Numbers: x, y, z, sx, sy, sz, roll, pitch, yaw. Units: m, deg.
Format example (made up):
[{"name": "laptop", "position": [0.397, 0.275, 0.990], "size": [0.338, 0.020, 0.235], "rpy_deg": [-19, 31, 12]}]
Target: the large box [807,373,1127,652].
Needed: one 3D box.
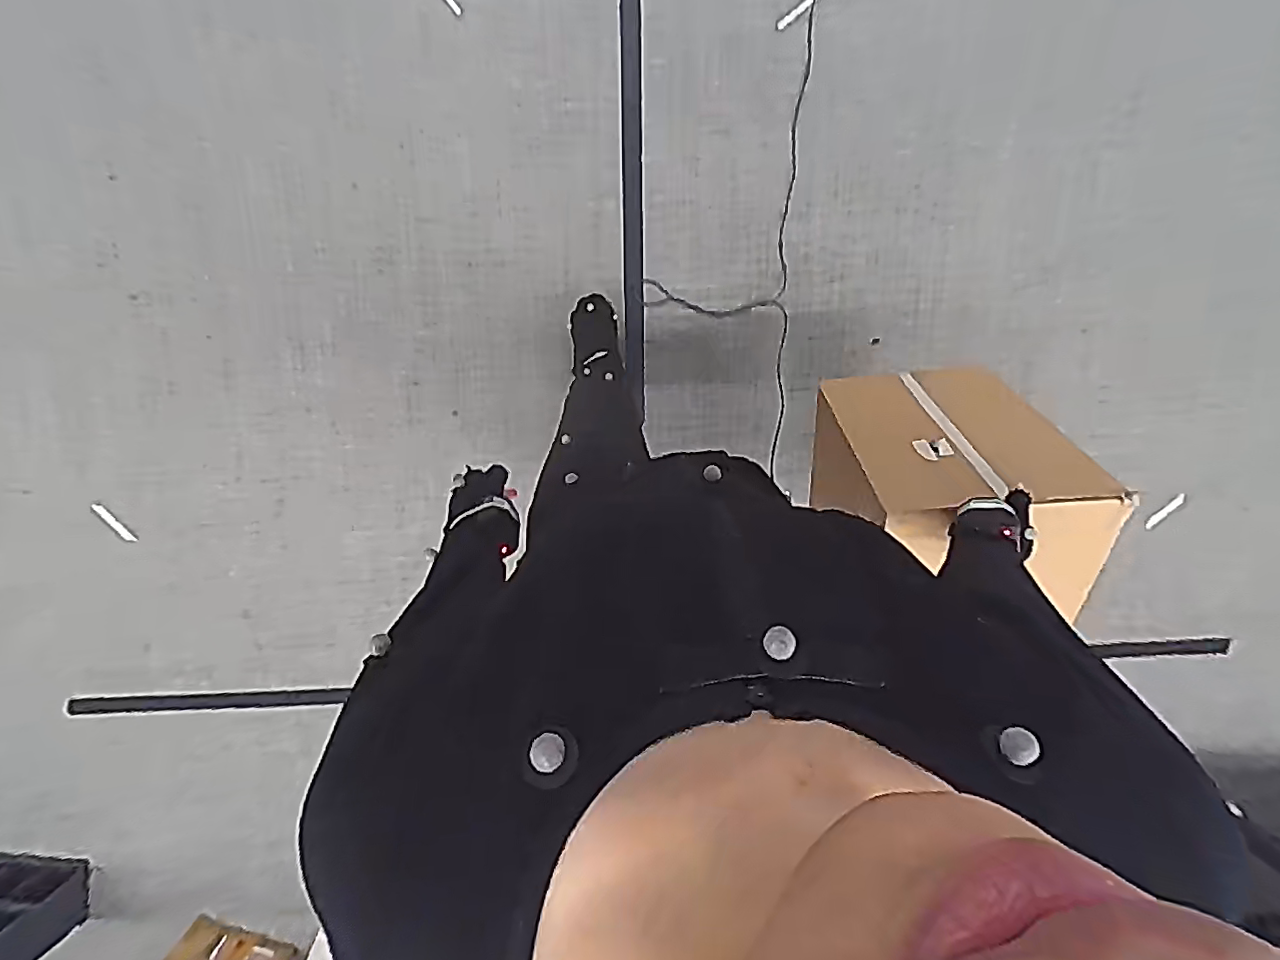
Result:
[{"name": "large box", "position": [0.511, 0.043, 0.971], "size": [0.320, 0.408, 0.320], "rpy_deg": [-5, 126, 5]}]
